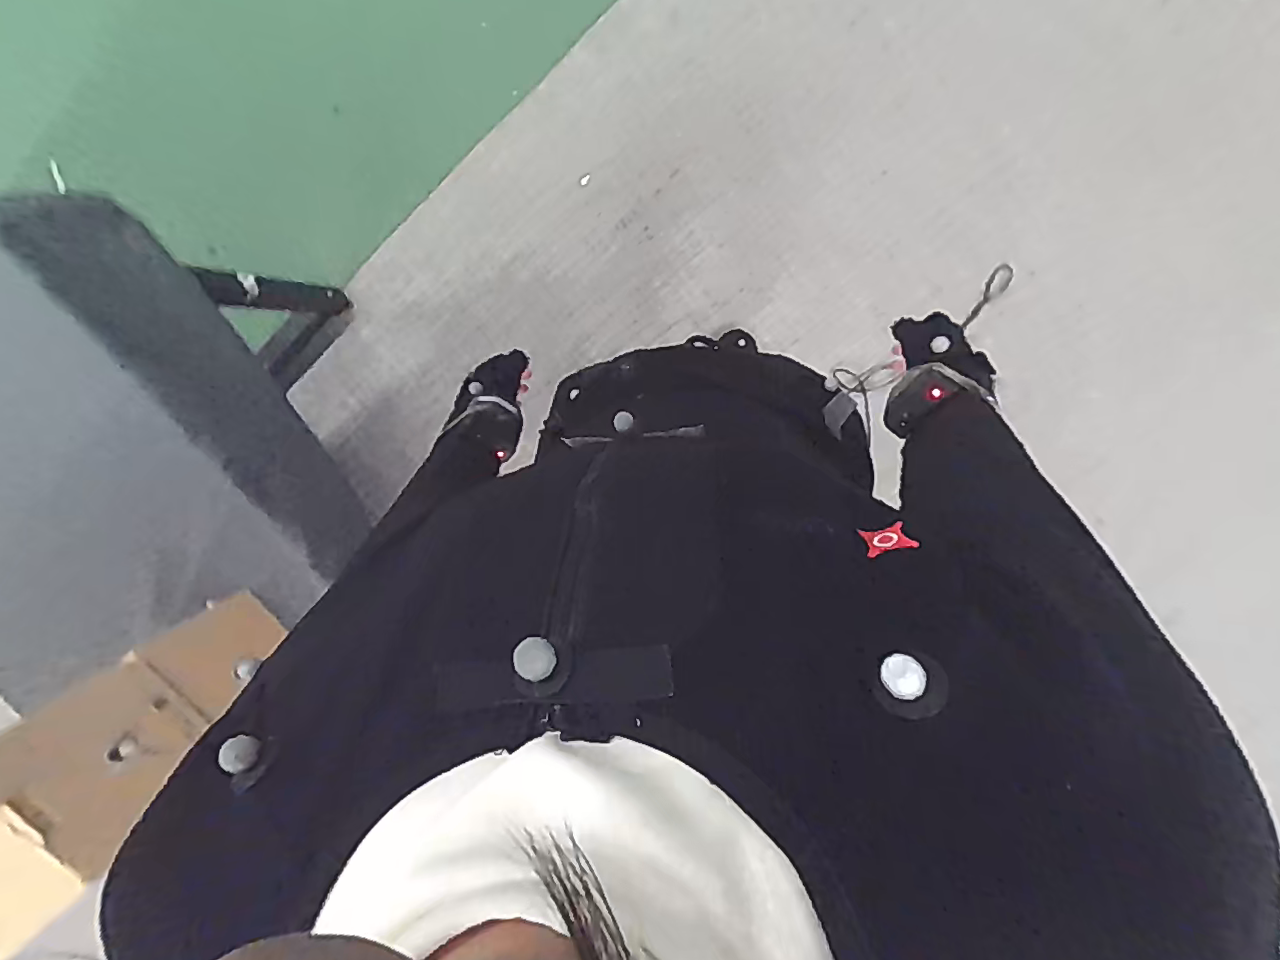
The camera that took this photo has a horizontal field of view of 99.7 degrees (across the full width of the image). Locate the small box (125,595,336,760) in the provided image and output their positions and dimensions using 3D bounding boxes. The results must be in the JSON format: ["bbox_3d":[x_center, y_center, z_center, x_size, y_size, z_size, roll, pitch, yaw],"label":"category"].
[{"bbox_3d":[-0.572,0.282,0.740,0.168,0.176,0.179,-38,97,14],"label":"small box"}]

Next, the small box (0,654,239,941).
[{"bbox_3d":[-0.589,0.325,0.583,0.179,0.176,0.168,-39,97,14],"label":"small box"}]
